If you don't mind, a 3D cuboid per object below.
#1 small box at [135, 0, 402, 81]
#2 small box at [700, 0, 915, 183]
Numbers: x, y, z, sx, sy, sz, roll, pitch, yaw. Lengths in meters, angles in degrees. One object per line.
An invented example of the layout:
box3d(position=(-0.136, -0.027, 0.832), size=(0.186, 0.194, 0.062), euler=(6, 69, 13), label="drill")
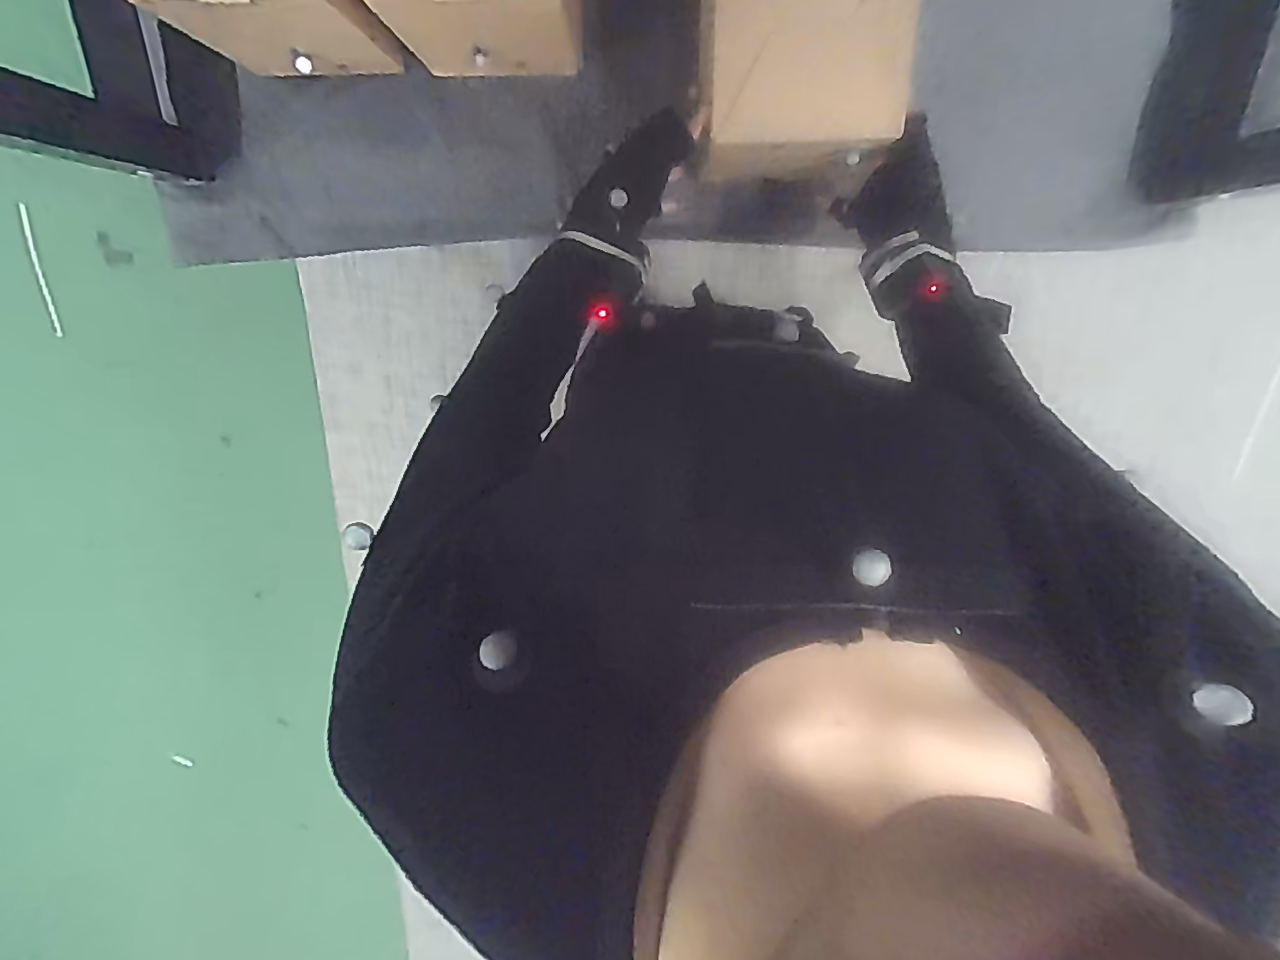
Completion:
box3d(position=(-0.340, -0.499, 0.492), size=(0.168, 0.176, 0.179), euler=(0, 109, 2), label="small box")
box3d(position=(0.142, -0.398, 0.512), size=(0.168, 0.176, 0.179), euler=(0, 108, 2), label="small box")
